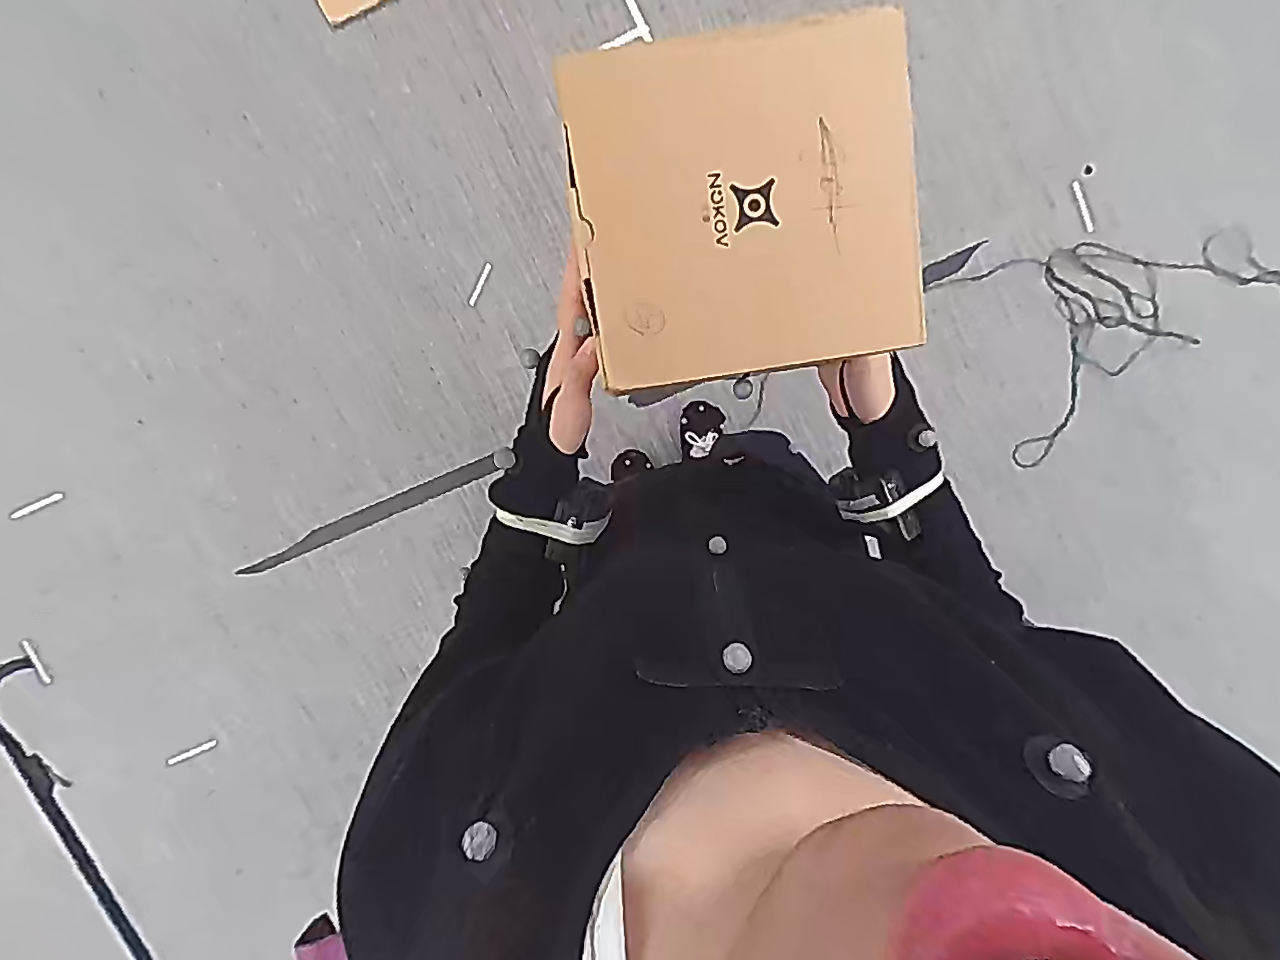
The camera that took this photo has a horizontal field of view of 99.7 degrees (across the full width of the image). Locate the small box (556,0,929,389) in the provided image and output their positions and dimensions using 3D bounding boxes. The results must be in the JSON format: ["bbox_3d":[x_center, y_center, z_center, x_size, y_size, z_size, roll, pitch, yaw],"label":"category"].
[{"bbox_3d":[0.055,-0.153,0.354,0.179,0.176,0.168,-9,99,0],"label":"small box"}]
